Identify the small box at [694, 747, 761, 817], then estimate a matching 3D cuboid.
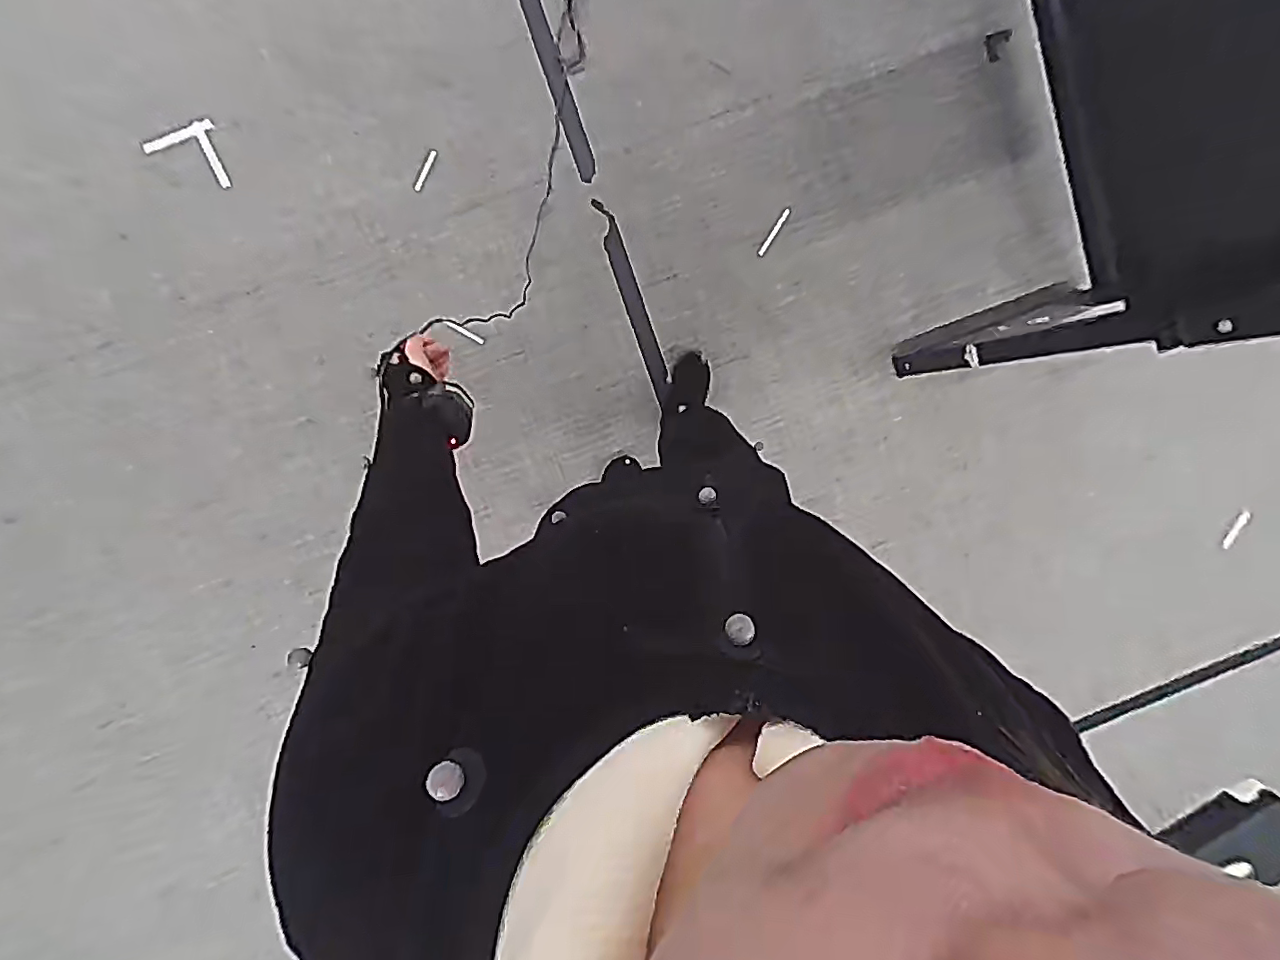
[{"bbox_3d":[0.258,0.894,1.522,0.179,0.176,0.168,-19,98,0],"label":"small box"}]
